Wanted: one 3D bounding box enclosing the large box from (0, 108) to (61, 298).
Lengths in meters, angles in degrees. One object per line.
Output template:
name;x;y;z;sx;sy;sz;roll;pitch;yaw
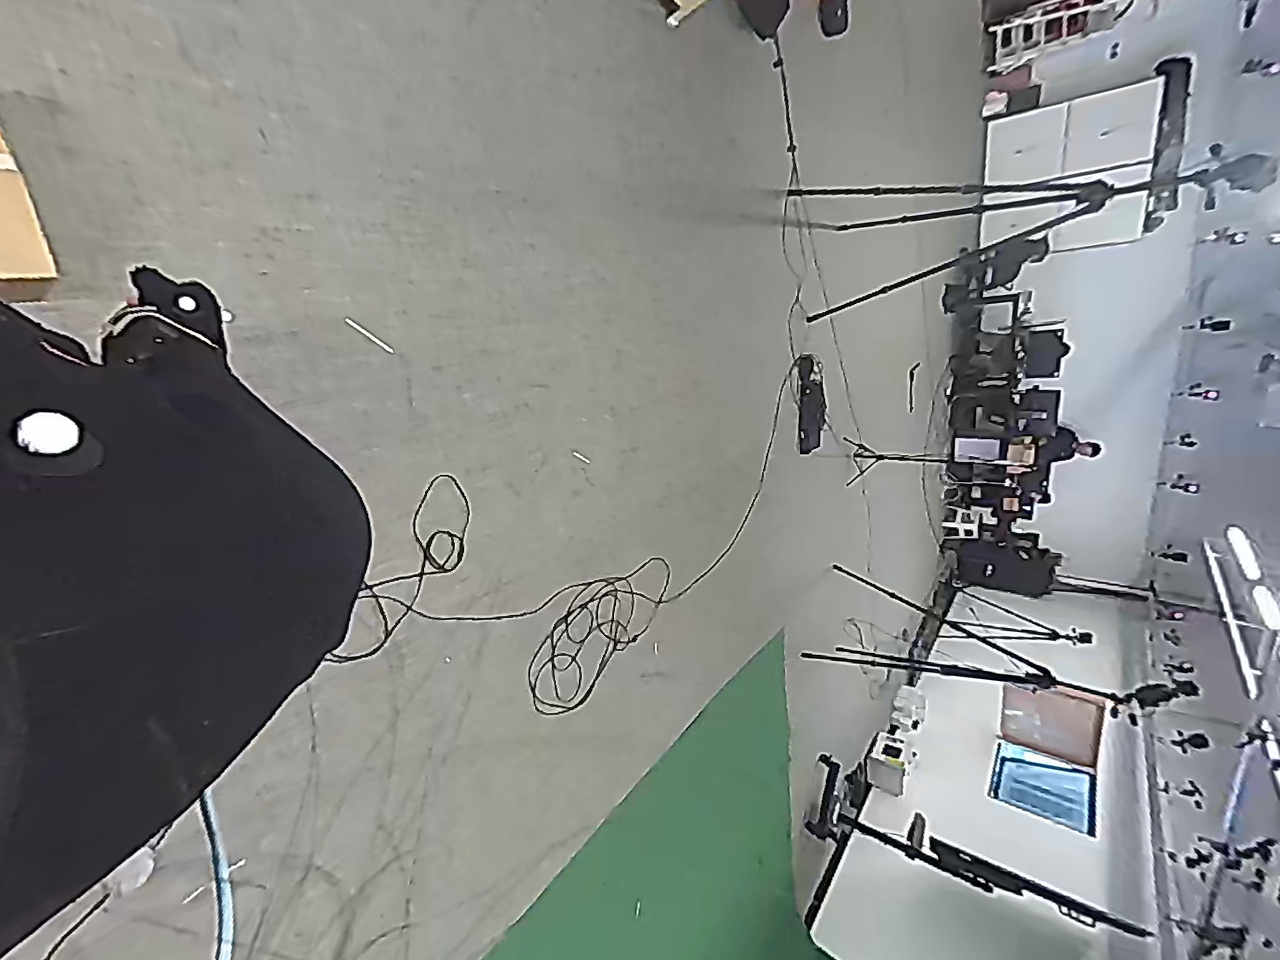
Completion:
large box;-1.139;-0.418;0.733;0.408;0.320;0.320;-24;114;-47
